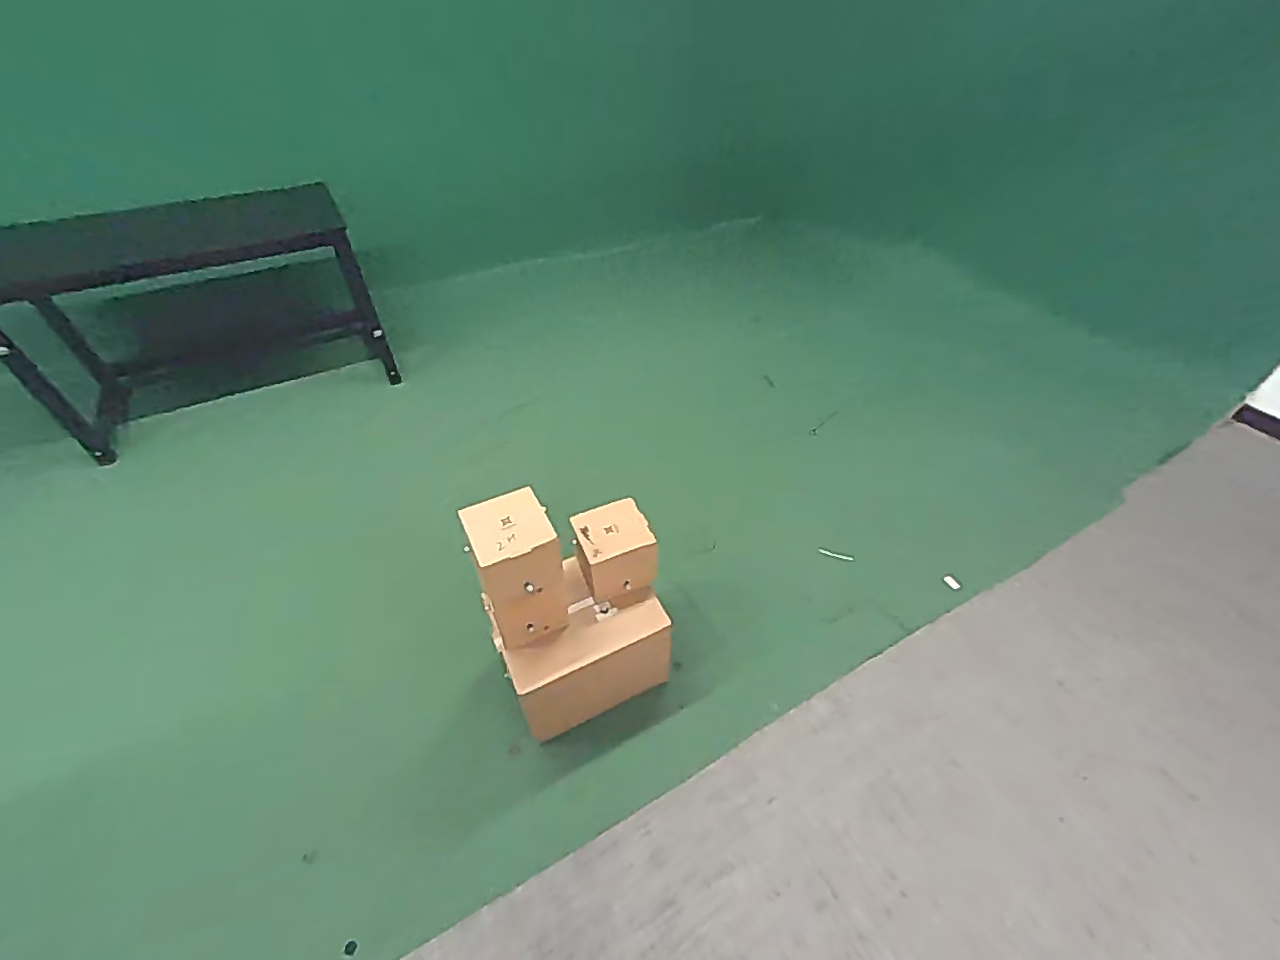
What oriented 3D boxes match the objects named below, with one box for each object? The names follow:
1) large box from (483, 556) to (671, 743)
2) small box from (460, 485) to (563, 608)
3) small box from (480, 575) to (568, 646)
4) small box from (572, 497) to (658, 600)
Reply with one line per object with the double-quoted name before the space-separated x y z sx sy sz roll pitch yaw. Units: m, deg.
"large box" -0.166 0.433 1.477 0.408 0.320 0.320 -20 48 -20
"small box" -0.279 0.147 1.188 0.168 0.176 0.179 -21 48 -20
"small box" -0.283 0.264 1.304 0.168 0.176 0.179 -19 48 -20
"small box" -0.066 0.177 1.387 0.179 0.176 0.168 -16 46 -16
